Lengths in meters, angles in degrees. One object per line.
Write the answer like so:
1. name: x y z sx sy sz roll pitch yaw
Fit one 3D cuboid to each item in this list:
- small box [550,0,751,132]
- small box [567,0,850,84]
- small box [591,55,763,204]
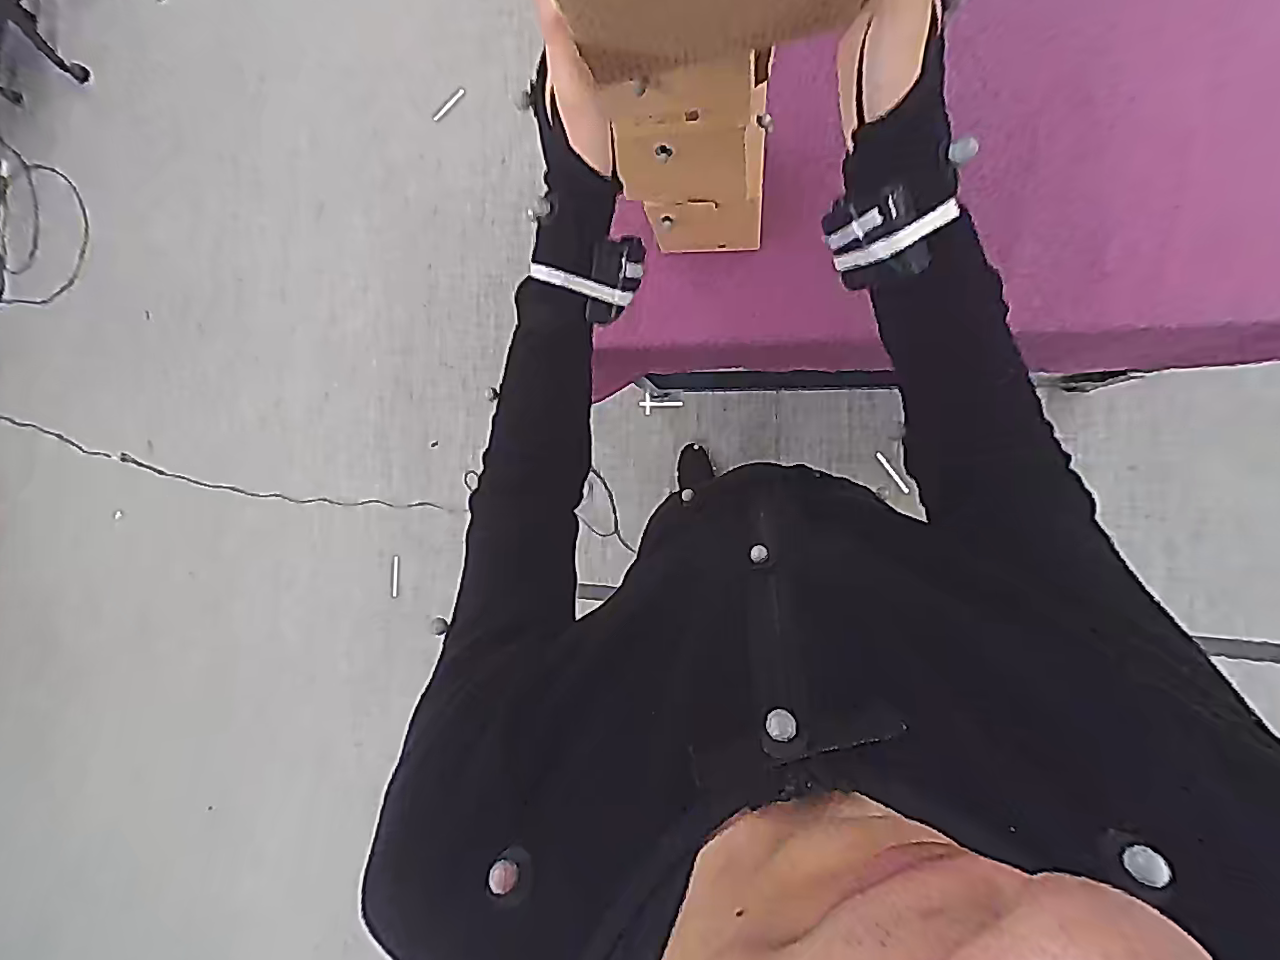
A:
1. small box: 0.023 -0.468 0.522 0.168 0.176 0.179 2 89 12
2. small box: 0.033 -0.342 0.280 0.179 0.176 0.168 -7 106 9
3. small box: 0.055 -0.471 0.681 0.179 0.176 0.168 9 92 11
